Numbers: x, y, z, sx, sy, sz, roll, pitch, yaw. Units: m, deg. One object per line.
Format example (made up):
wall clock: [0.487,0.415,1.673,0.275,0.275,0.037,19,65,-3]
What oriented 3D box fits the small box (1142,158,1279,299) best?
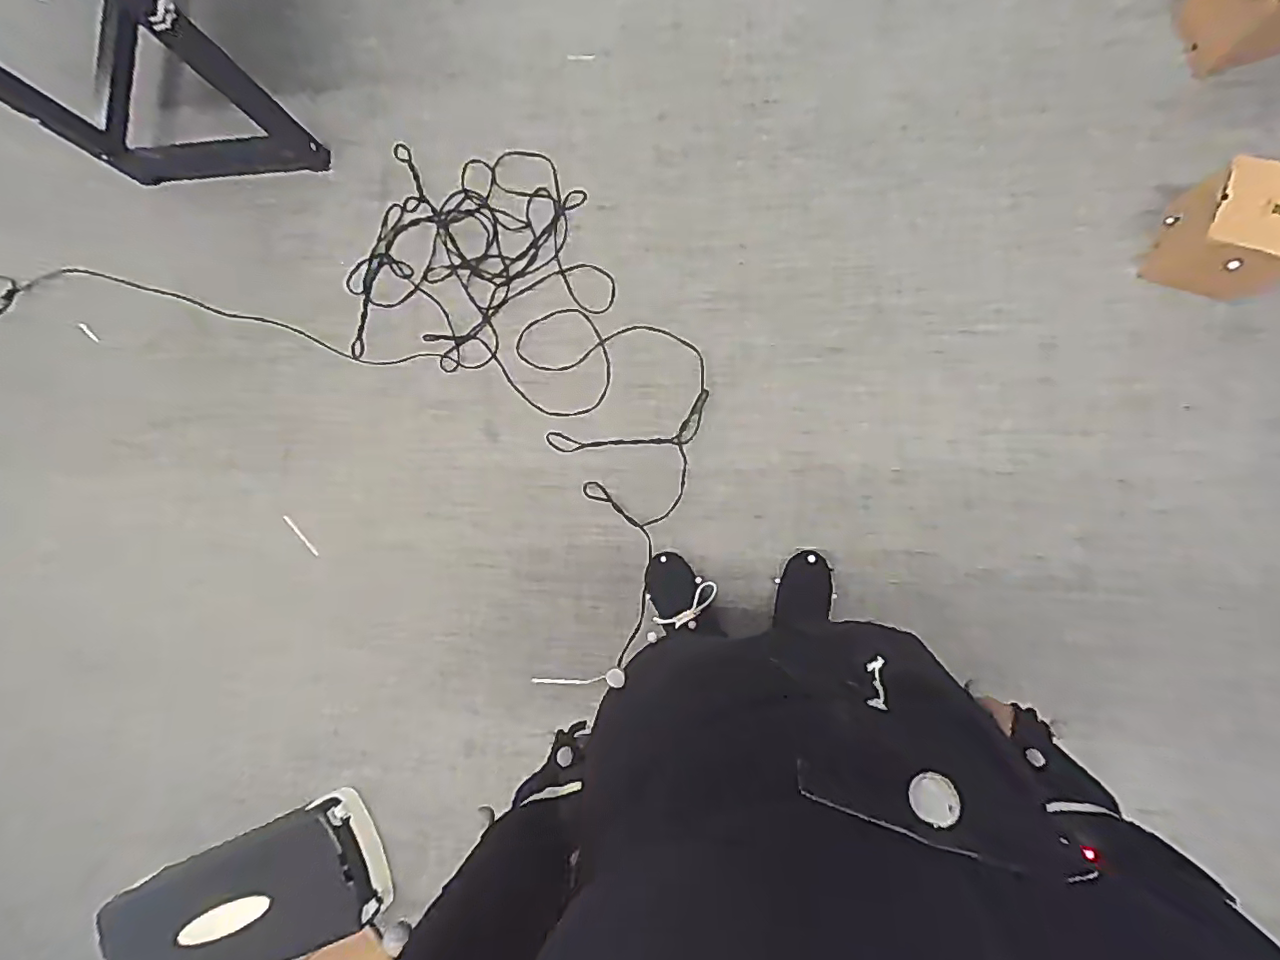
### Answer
small box: [1.137,-0.468,1.034,0.179,0.176,0.168,20,89,10]
